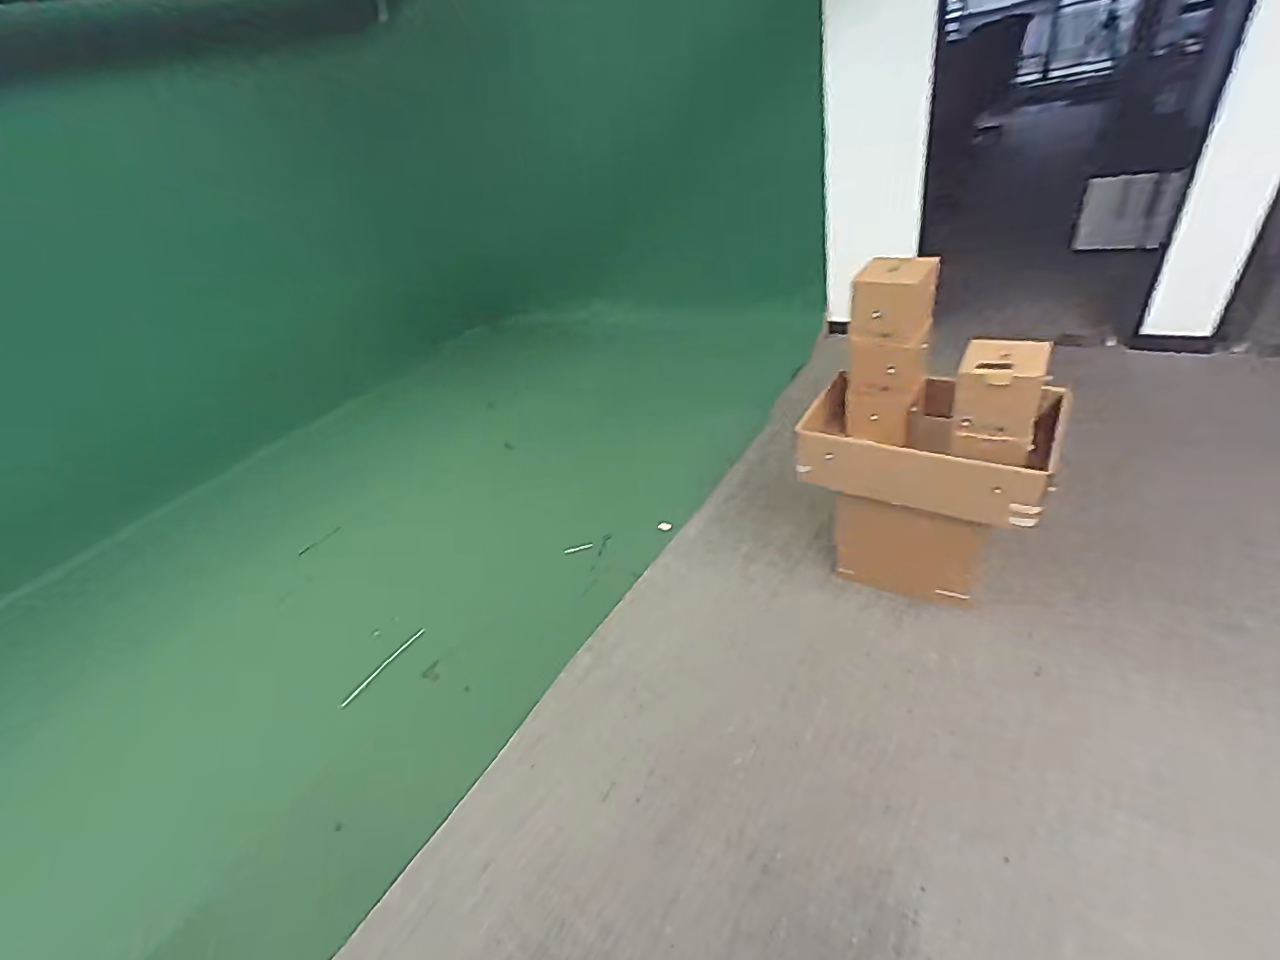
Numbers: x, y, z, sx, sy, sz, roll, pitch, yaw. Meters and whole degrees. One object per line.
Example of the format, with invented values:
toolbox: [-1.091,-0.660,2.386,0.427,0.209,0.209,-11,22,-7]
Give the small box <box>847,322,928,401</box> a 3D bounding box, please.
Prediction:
small box: [0.713,-0.348,1.564,0.168,0.176,0.179,18,47,35]

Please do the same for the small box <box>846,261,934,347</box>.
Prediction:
small box: [0.677,-0.479,1.472,0.168,0.176,0.179,20,49,36]

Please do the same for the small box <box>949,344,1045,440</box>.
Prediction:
small box: [0.874,-0.218,1.331,0.168,0.176,0.179,13,45,33]
